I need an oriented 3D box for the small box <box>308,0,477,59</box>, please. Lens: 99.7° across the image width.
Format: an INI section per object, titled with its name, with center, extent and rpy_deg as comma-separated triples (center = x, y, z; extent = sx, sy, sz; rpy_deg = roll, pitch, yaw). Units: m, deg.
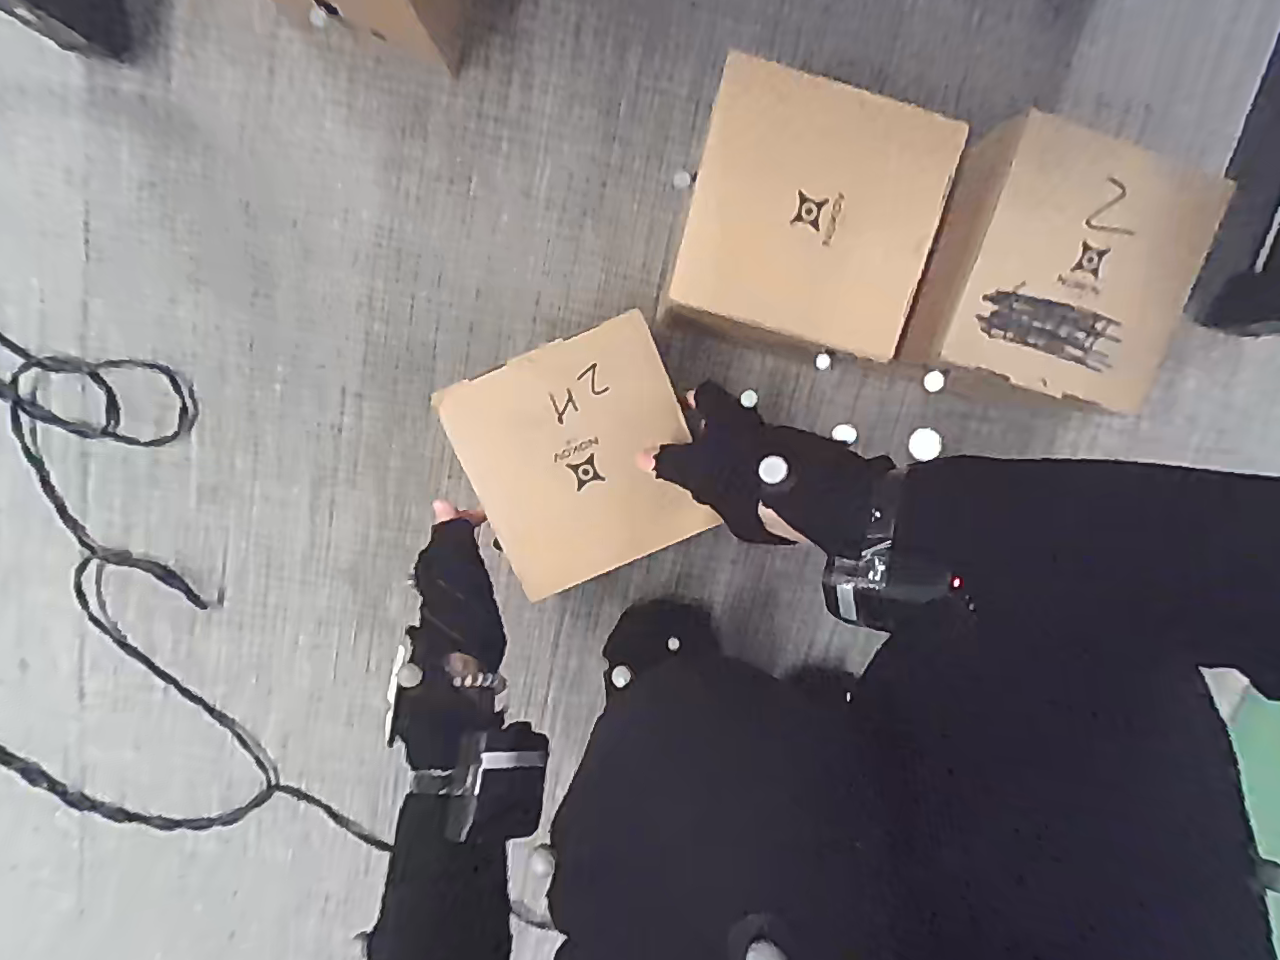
[small box]
center = -0.205, -0.468, 0.389
extent = 0.168, 0.176, 0.179
rpy_deg = 20, 99, -5
